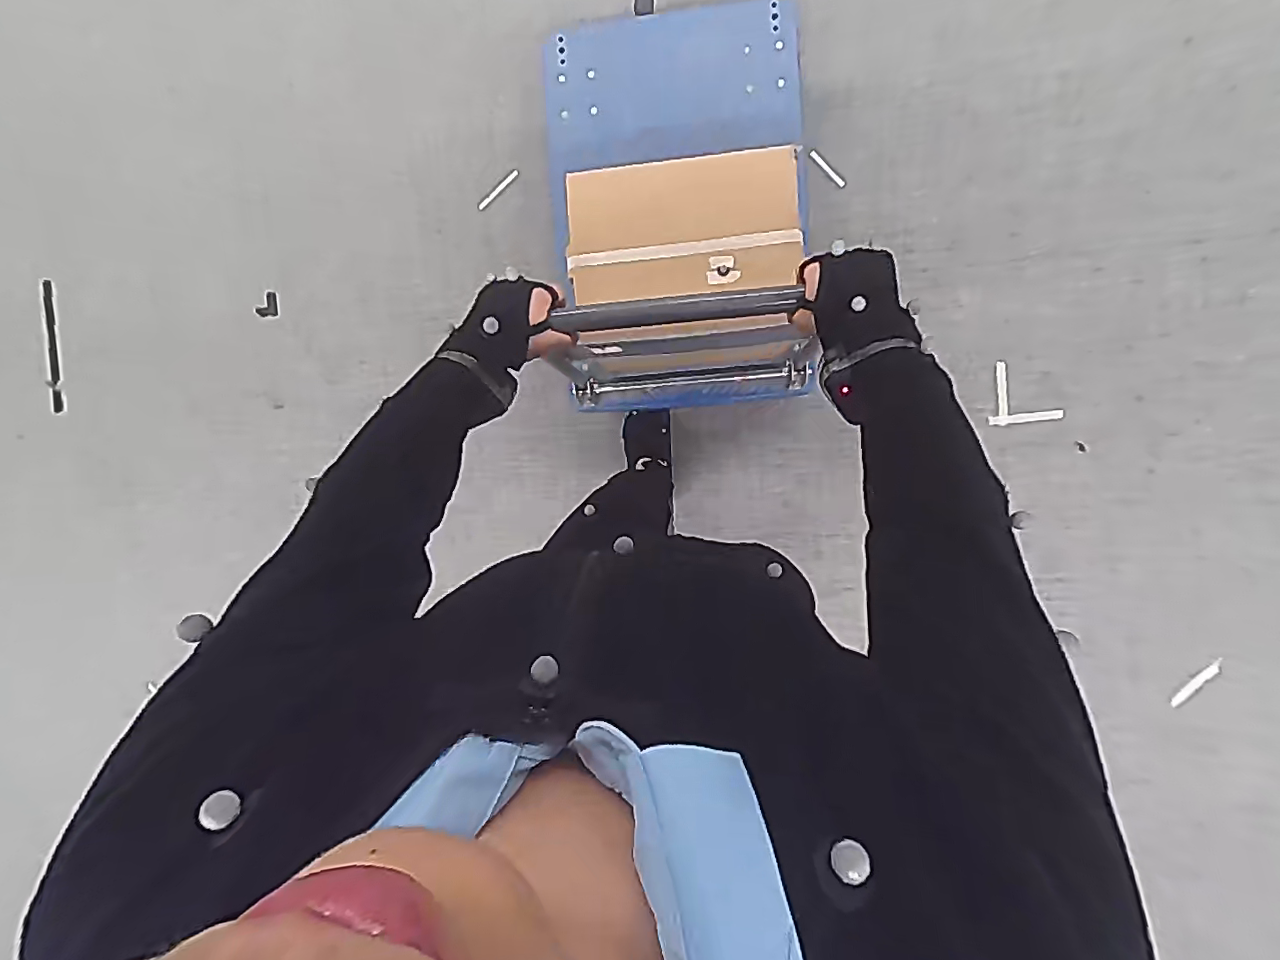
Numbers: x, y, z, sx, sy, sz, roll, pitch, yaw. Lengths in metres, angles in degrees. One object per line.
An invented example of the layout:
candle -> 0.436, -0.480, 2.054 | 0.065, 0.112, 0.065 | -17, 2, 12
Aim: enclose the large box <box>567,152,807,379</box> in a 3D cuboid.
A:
large box -> 0.091, -0.396, 1.091 | 0.408, 0.320, 0.320 | -4, 93, 6
